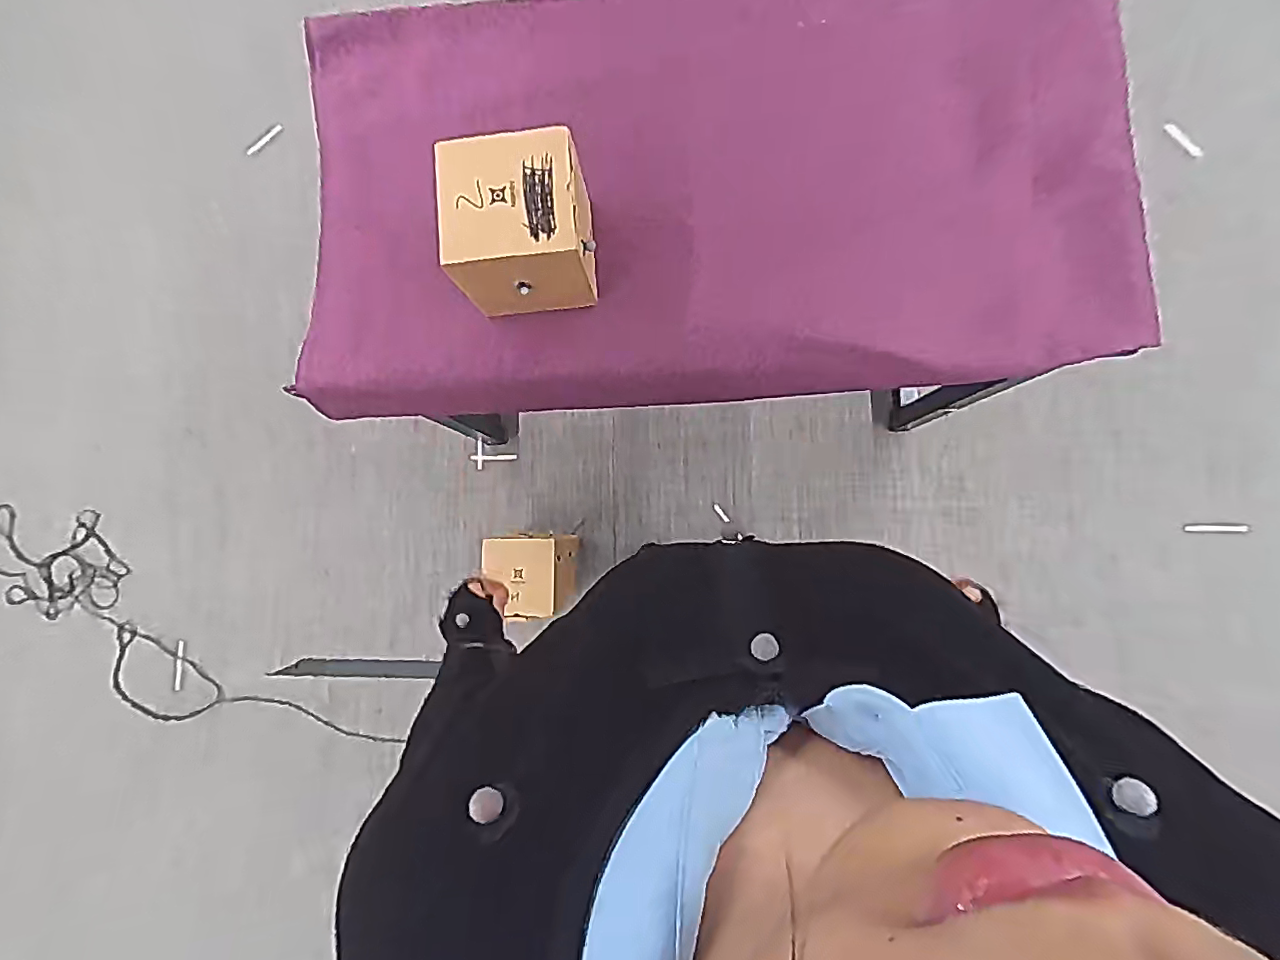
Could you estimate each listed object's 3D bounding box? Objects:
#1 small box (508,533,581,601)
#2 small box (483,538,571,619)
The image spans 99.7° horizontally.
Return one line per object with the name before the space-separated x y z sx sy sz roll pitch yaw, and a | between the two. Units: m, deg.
small box | -0.258 0.237 1.443 0.168 0.176 0.179 5 85 4
small box | -0.260 0.226 1.278 0.168 0.176 0.179 0 85 4
